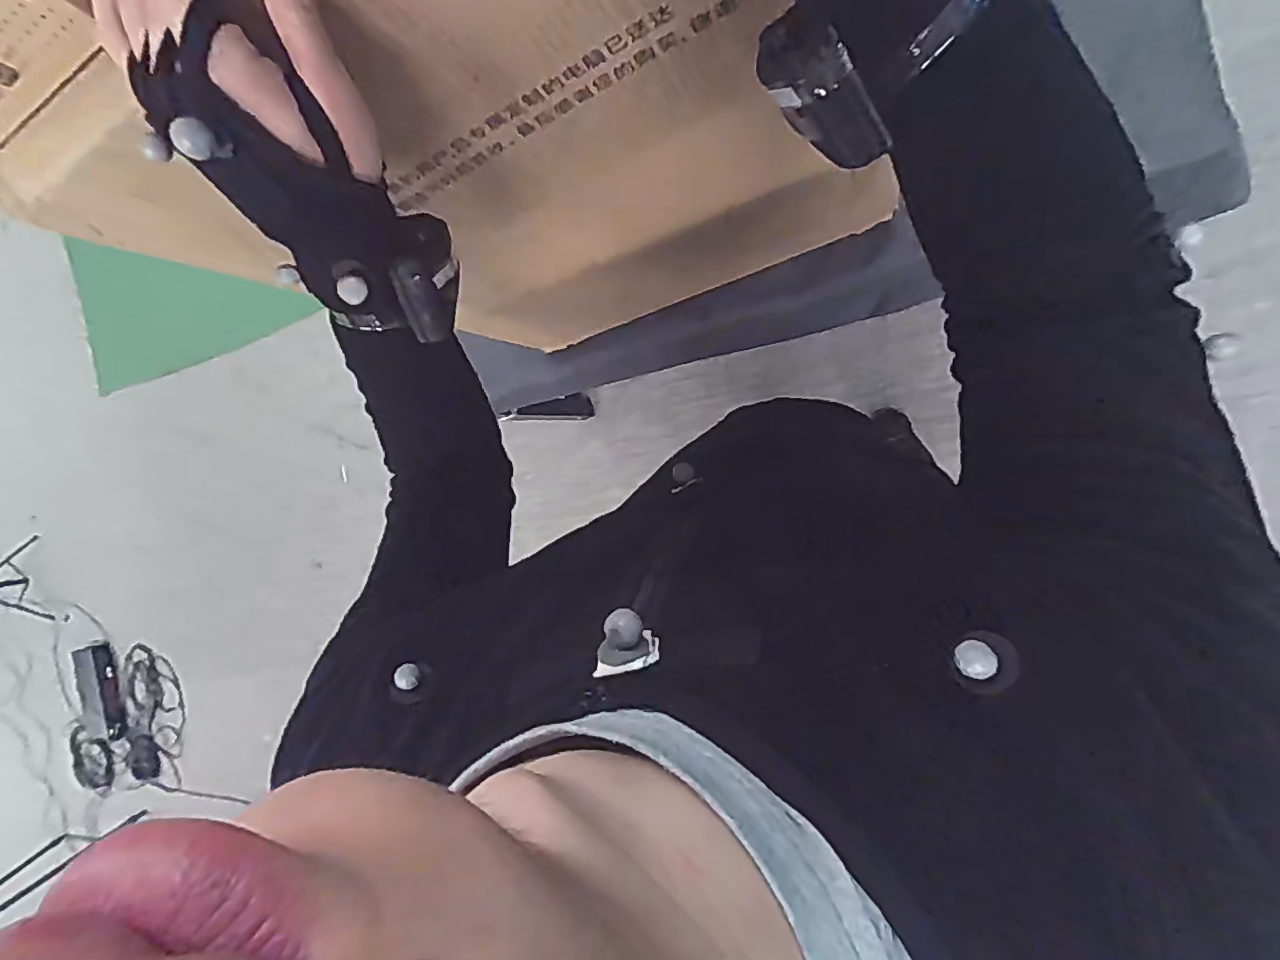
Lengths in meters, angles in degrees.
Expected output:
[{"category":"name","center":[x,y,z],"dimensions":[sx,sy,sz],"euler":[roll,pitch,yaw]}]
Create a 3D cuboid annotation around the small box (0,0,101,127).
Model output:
[{"category":"small box","center":[-0.353,-0.258,0.197],"dimensions":[0.168,0.176,0.179],"euler":[-14,91,22]}]
